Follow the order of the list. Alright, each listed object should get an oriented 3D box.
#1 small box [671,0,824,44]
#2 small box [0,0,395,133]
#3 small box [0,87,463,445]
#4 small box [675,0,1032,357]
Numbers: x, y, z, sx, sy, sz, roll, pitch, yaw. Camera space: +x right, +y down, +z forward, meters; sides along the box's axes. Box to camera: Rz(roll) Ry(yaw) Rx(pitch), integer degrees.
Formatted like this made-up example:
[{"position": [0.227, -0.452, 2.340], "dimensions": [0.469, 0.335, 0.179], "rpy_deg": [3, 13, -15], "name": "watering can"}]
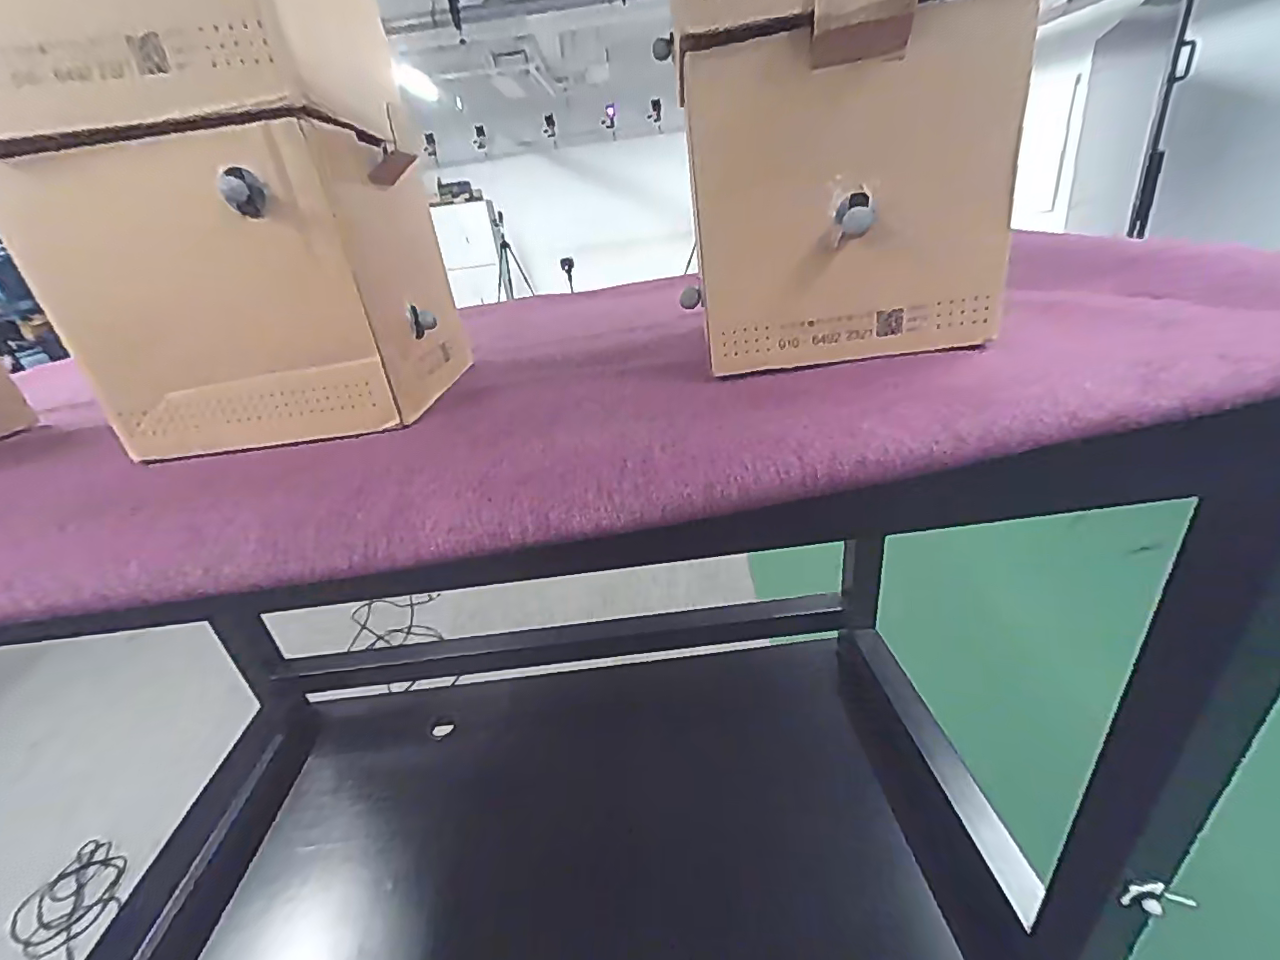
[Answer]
[{"position": [0.095, -0.327, 0.274], "dimensions": [0.179, 0.176, 0.168], "rpy_deg": [-6, 25, 7], "name": "small box"}, {"position": [-0.255, -0.276, 0.287], "dimensions": [0.168, 0.176, 0.179], "rpy_deg": [-7, 25, -2], "name": "small box"}, {"position": [-0.241, -0.131, 0.359], "dimensions": [0.179, 0.176, 0.168], "rpy_deg": [-7, 26, 1], "name": "small box"}, {"position": [0.117, -0.183, 0.352], "dimensions": [0.168, 0.176, 0.179], "rpy_deg": [-6, 26, 8], "name": "small box"}]
